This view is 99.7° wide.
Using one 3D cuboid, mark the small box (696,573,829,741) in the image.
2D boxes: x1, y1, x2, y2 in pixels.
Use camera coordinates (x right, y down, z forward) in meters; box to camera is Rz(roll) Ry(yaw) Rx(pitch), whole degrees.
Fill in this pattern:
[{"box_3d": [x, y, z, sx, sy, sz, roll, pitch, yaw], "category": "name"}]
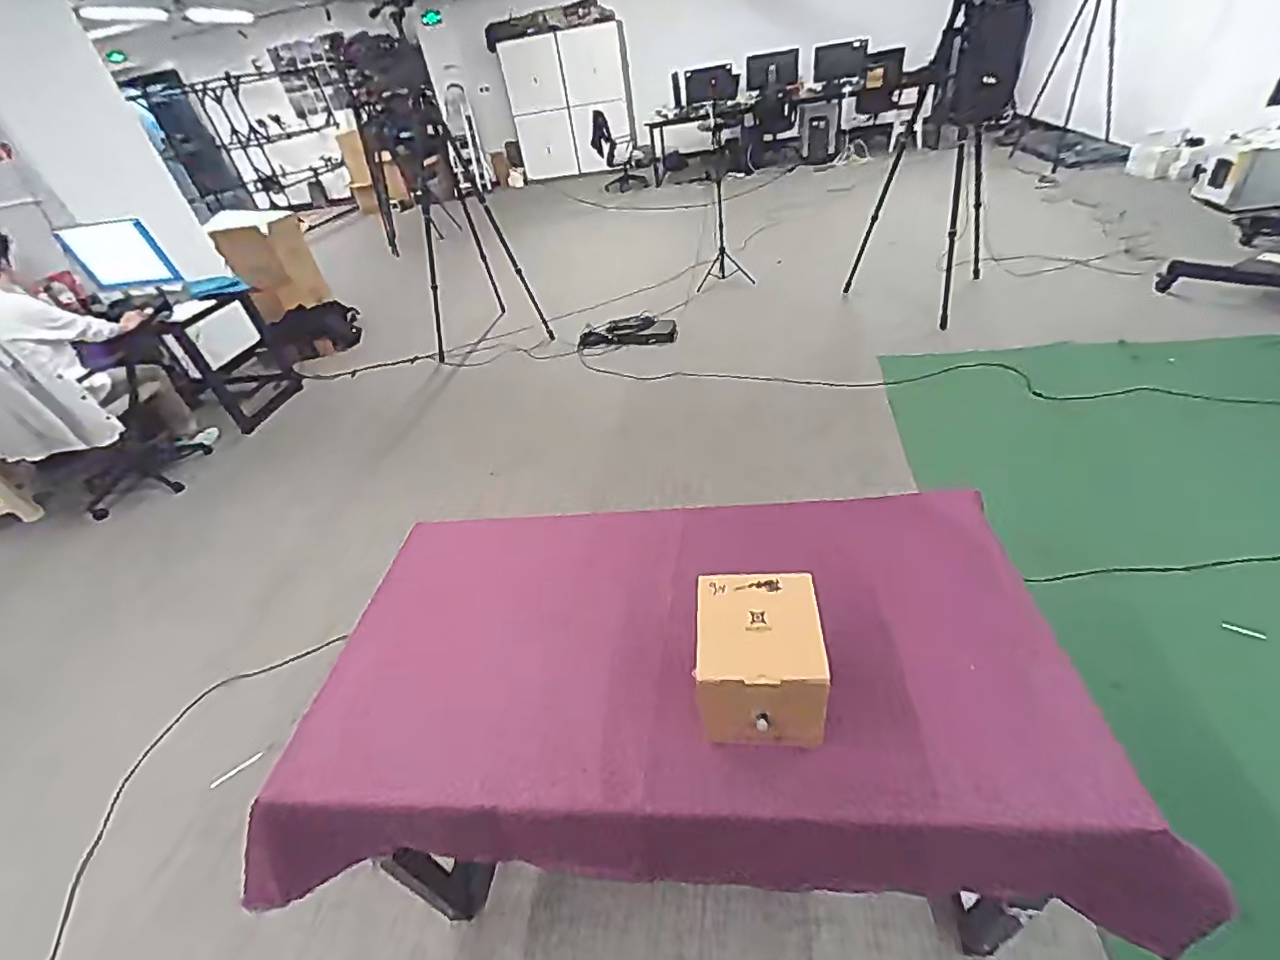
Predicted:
[{"box_3d": [0.173, 0.256, 0.783, 0.168, 0.176, 0.179, -3, 40, 10], "category": "small box"}]
